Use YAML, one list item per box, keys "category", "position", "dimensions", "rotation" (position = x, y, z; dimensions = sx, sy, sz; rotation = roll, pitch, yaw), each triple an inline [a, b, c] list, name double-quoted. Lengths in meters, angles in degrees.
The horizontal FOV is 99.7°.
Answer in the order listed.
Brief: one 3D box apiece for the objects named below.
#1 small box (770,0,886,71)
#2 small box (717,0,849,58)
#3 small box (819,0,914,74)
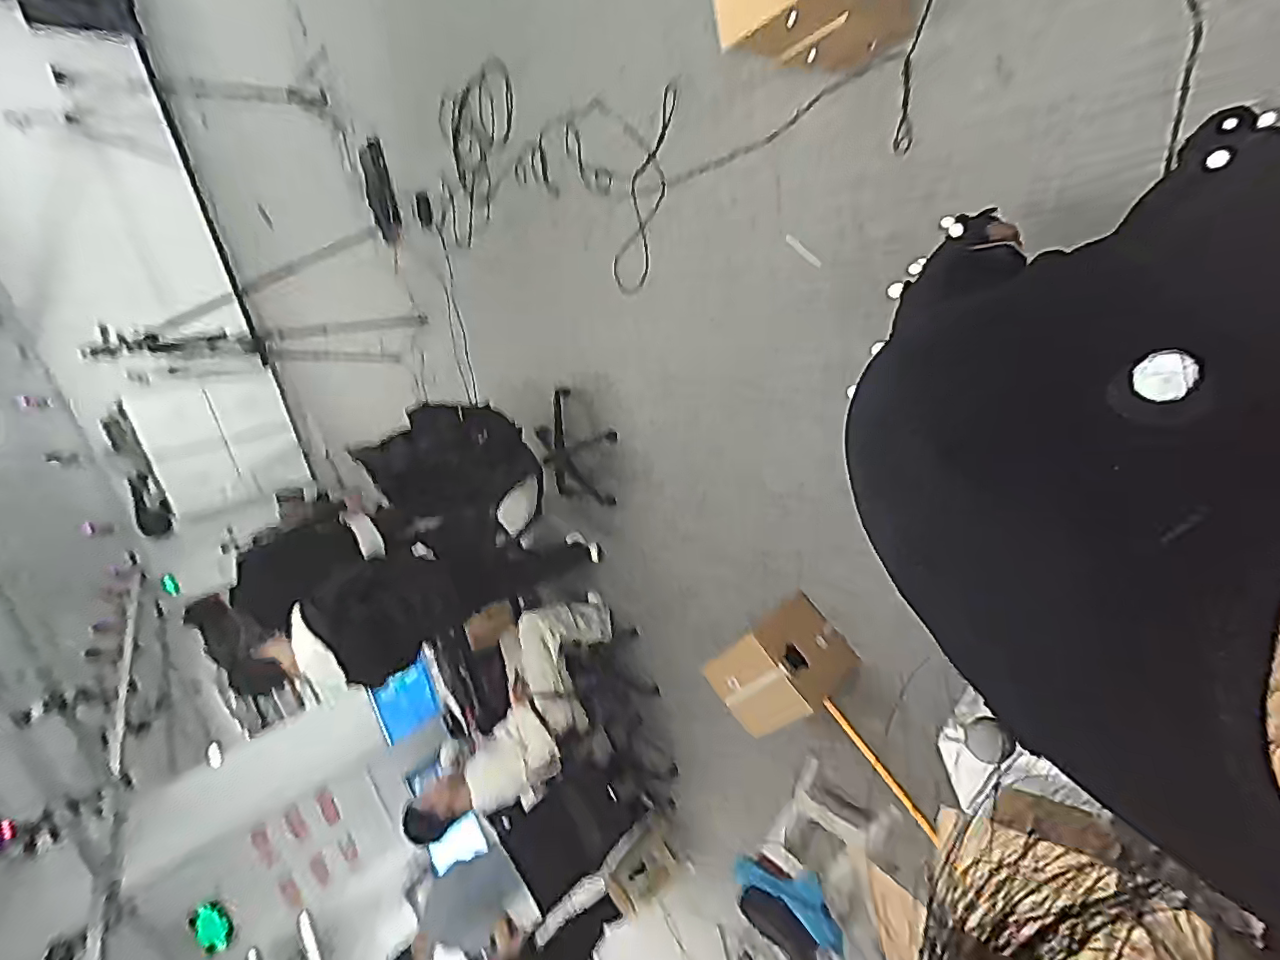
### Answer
- category: "small box"
  position: [0.375, -0.971, 1.103]
  dimensions: [0.179, 0.176, 0.168]
  rotation: [5, 114, 48]
- category: "small box"
  position: [0.259, -0.922, 0.999]
  dimensions: [0.179, 0.176, 0.168]
  rotation: [3, 112, 48]
- category: "small box"
  position: [0.488, -1.043, 1.199]
  dimensions: [0.179, 0.176, 0.168]
  rotation: [1, 109, 51]
